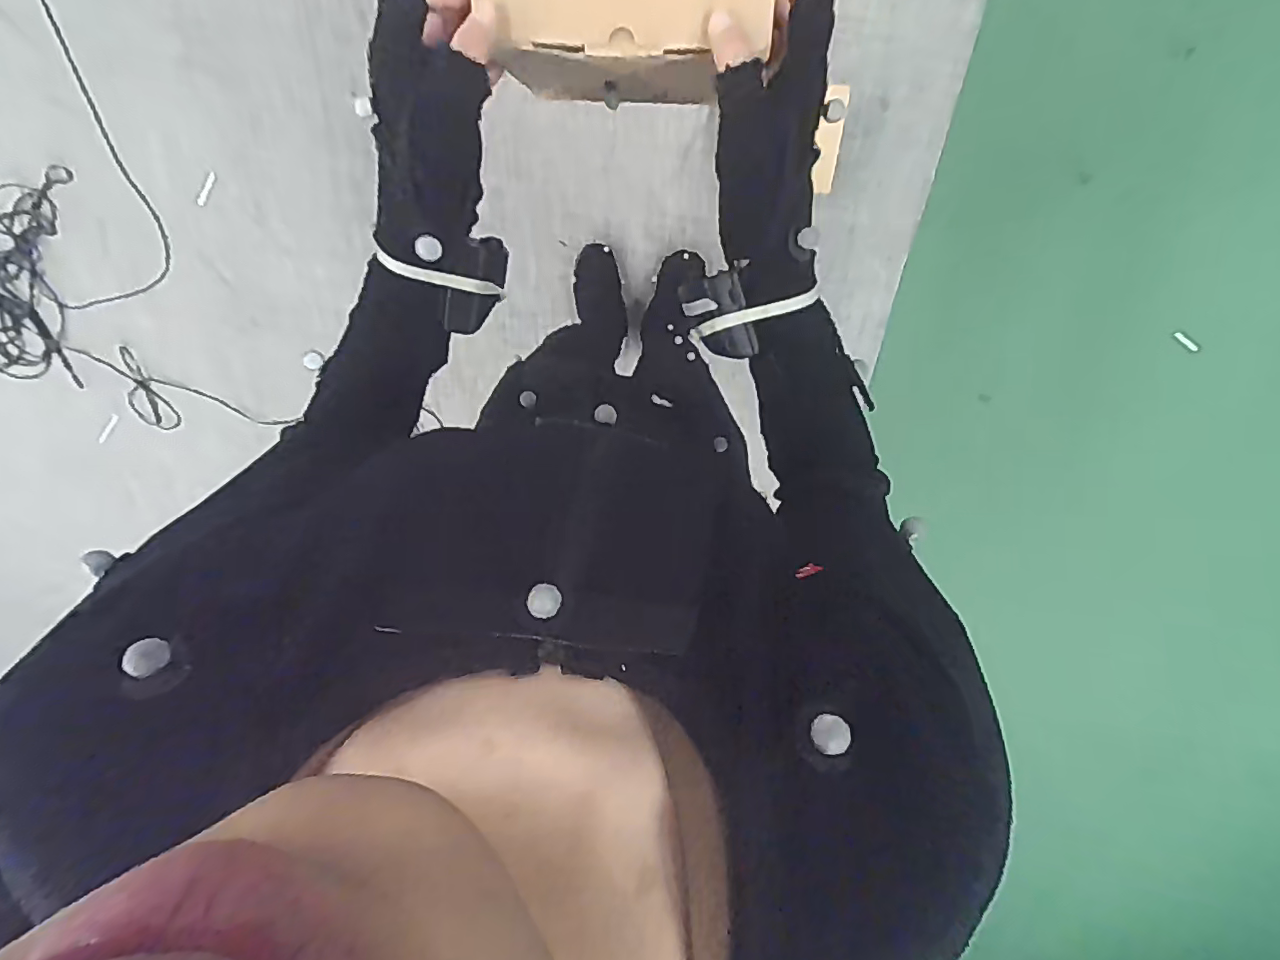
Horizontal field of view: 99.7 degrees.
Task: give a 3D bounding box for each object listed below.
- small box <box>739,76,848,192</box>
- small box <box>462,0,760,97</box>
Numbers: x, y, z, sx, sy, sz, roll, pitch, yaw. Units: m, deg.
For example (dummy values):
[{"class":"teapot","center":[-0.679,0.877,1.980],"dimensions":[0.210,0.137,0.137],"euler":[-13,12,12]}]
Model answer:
[{"class":"small box","center":[0.293,-0.682,1.076],"dimensions":[0.168,0.176,0.179],"euler":[5,120,2]},{"class":"small box","center":[-0.012,-0.358,0.333],"dimensions":[0.168,0.176,0.179],"euler":[2,119,1]}]
